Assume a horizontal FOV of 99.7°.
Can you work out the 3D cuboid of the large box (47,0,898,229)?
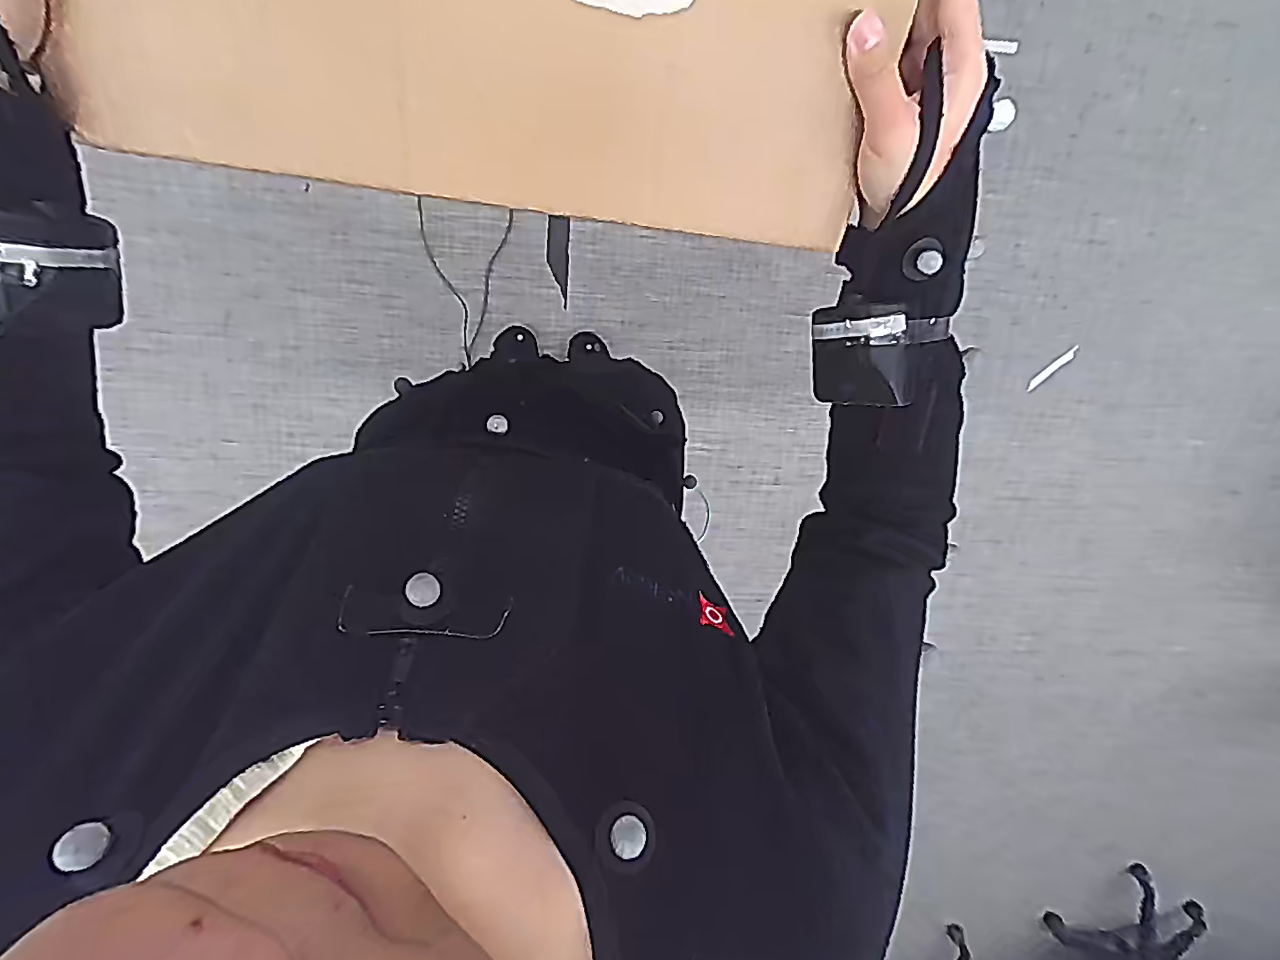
[{"bbox_3d":[-0.074,-0.369,0.347,0.408,0.320,0.320,4,122,-9],"label":"large box"}]
